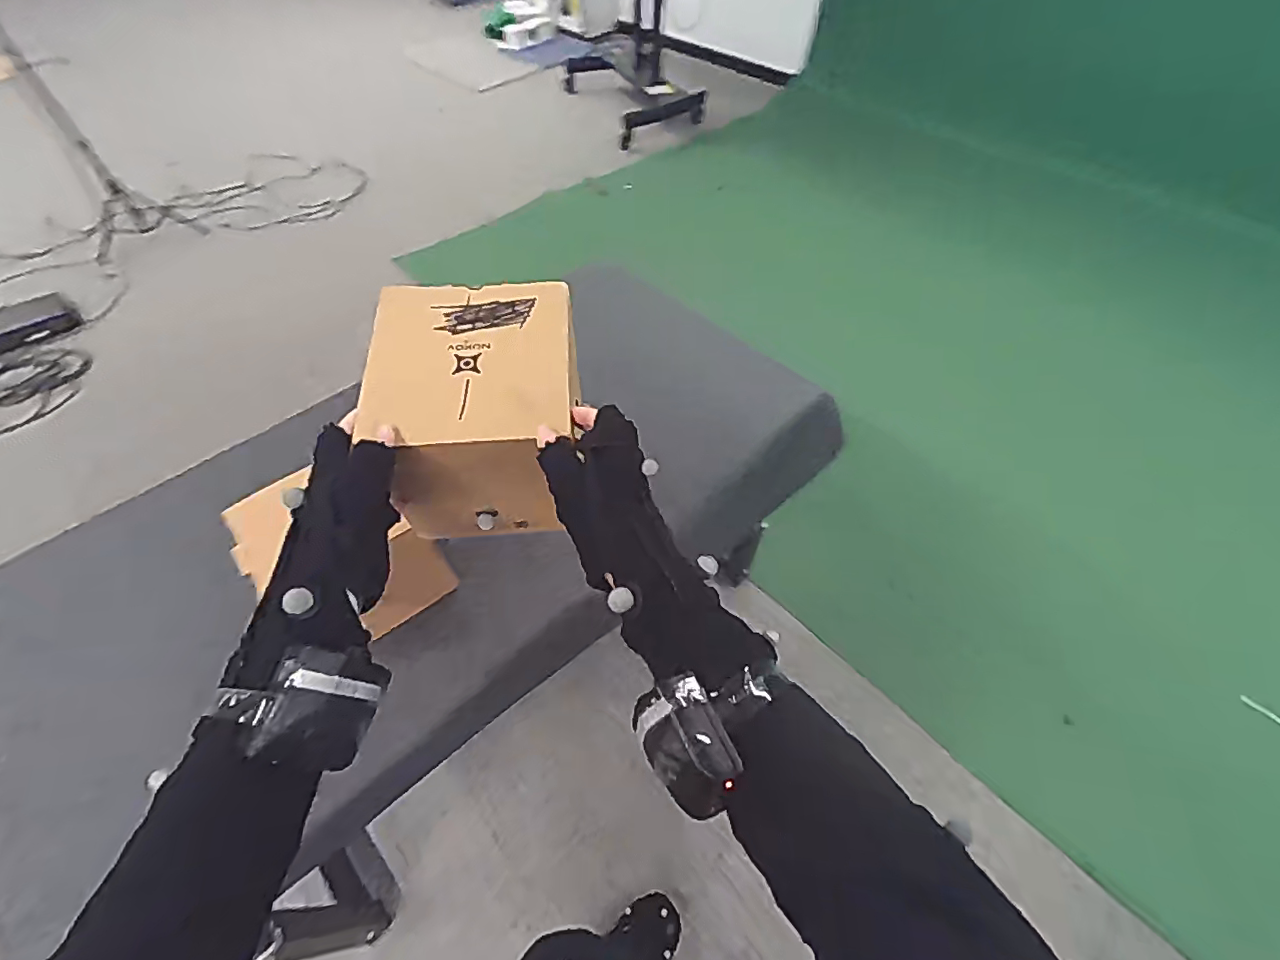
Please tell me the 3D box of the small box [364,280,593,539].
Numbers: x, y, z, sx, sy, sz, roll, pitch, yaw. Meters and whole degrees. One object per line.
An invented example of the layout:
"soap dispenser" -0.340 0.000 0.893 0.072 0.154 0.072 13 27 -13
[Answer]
"small box" -0.135 -0.063 0.515 0.168 0.176 0.179 -6 59 -4

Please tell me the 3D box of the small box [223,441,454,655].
"small box" -0.370 0.091 0.689 0.179 0.176 0.168 -34 60 -21
